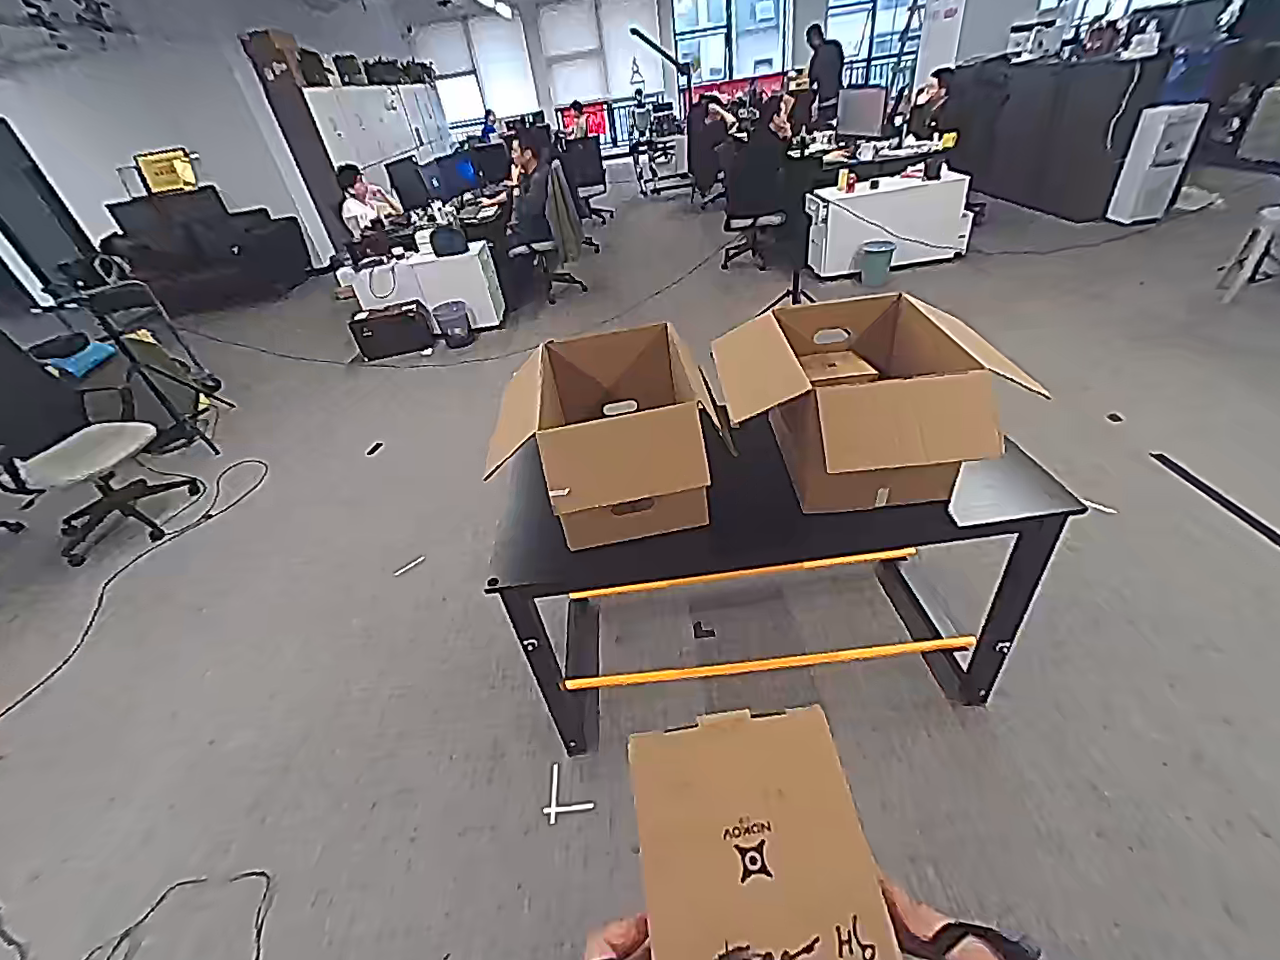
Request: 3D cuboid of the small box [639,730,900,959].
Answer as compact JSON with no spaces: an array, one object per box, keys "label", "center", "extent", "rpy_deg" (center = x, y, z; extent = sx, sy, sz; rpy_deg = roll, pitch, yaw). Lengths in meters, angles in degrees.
[{"label":"small box","center":[0.093,0.337,0.464],"extent":[0.168,0.176,0.179],"rpy_deg":[-9,54,-2]}]
